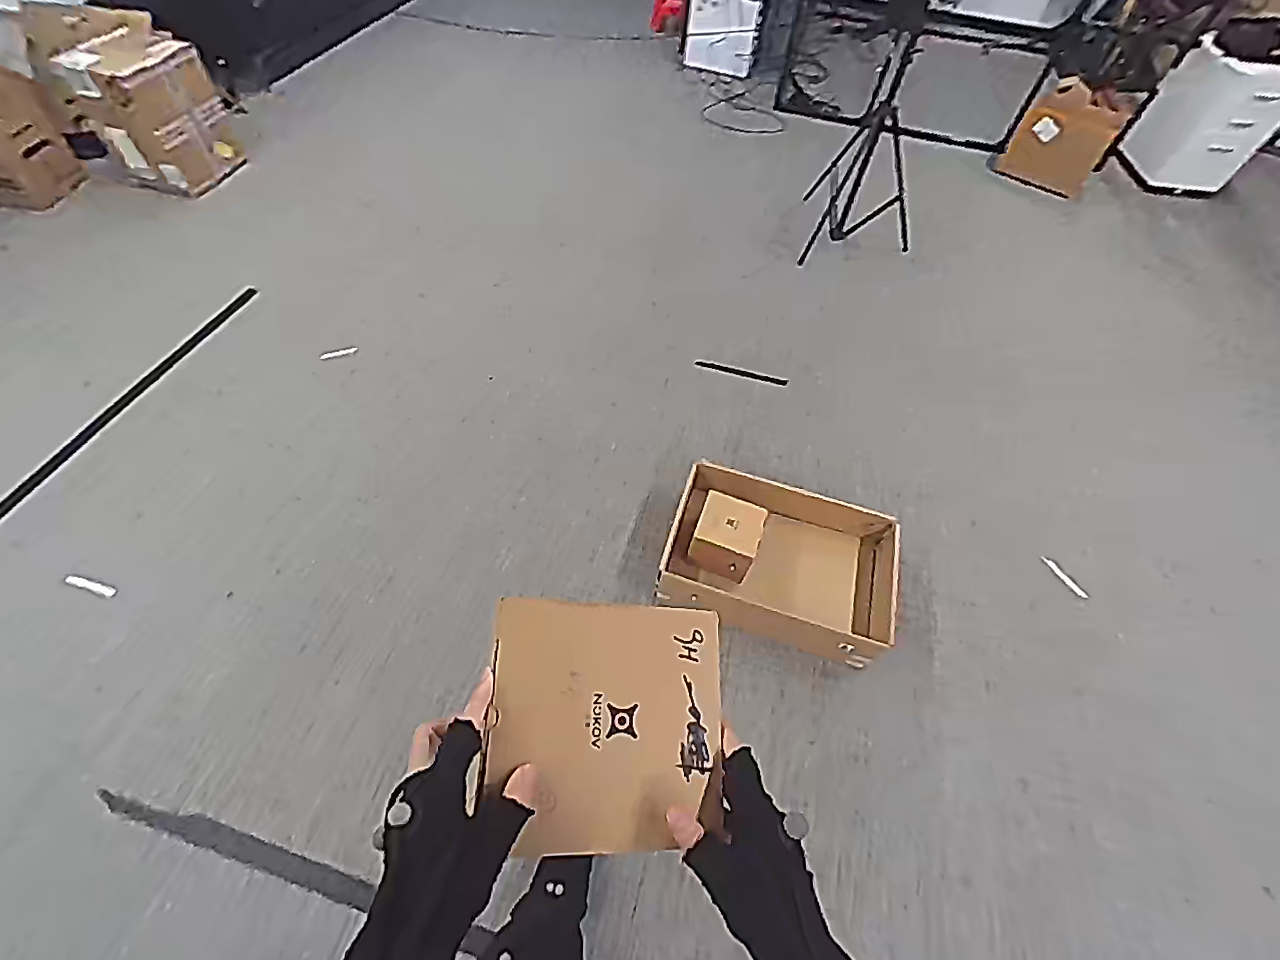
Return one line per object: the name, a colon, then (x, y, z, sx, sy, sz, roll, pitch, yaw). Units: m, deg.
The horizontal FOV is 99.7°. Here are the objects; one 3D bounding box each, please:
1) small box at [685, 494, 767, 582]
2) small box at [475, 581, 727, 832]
small box: (0.244, 0.173, 1.553, 0.179, 0.176, 0.168, 19, 56, 8)
small box: (-0.040, 0.192, 0.465, 0.179, 0.176, 0.168, 8, 66, -14)
